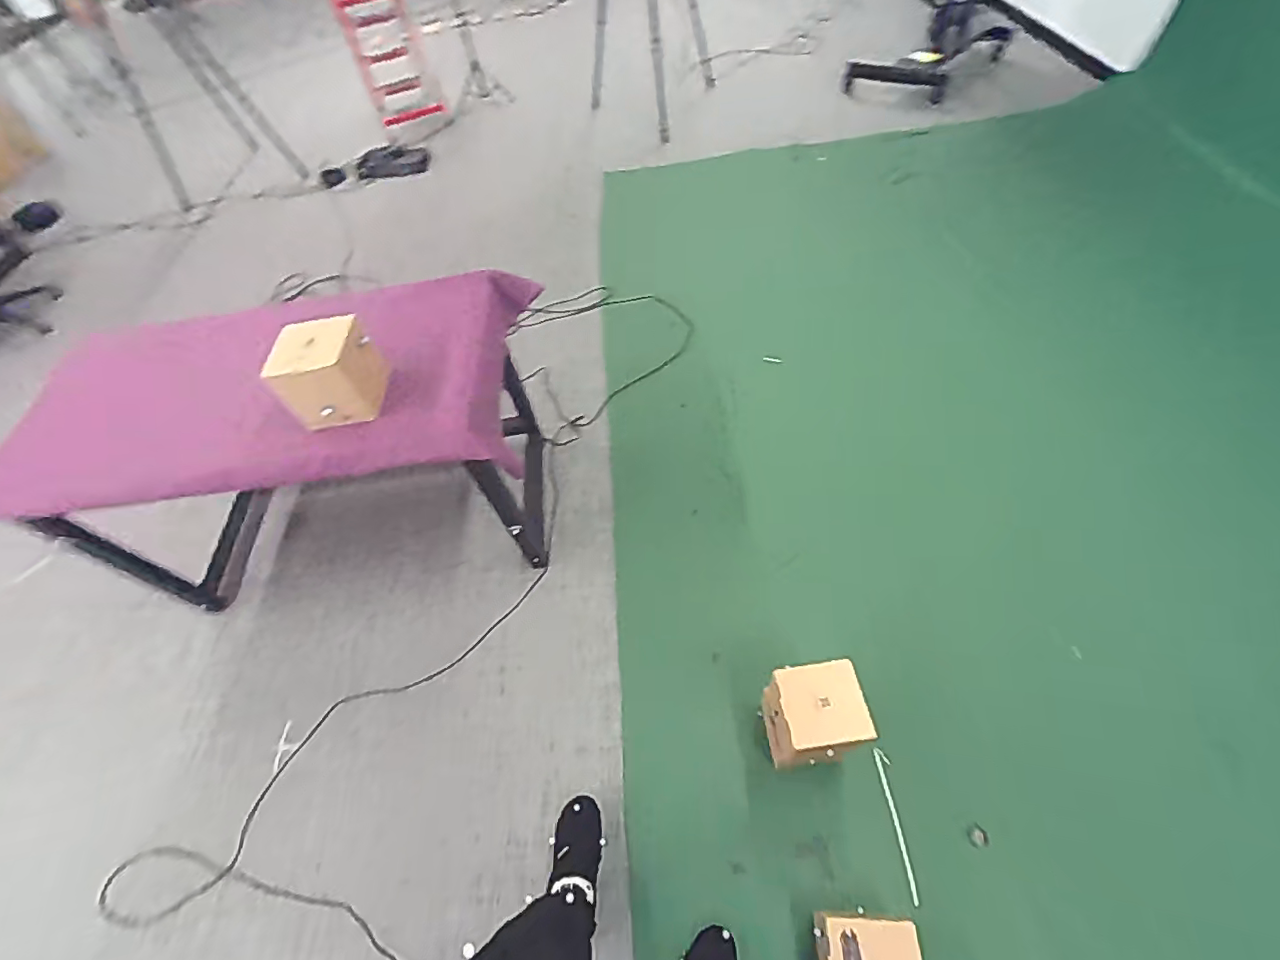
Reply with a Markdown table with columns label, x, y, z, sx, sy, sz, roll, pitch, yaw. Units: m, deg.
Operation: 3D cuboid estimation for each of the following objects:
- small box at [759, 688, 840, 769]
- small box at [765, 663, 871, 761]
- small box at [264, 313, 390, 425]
| label | x | y | z | sx | sy | sz | roll | pitch | yaw |
| --- | --- | --- | --- | --- | --- | --- | --- | --- | --- |
| small box | 0.403 | 0.622 | 1.366 | 0.179 | 0.176 | 0.168 | -8 | 55 | 1 |
| small box | 0.395 | 0.531 | 1.231 | 0.179 | 0.176 | 0.168 | -9 | 55 | 1 |
| small box | -0.695 | -0.249 | 1.227 | 0.168 | 0.176 | 0.179 | -8 | 53 | 3 |
